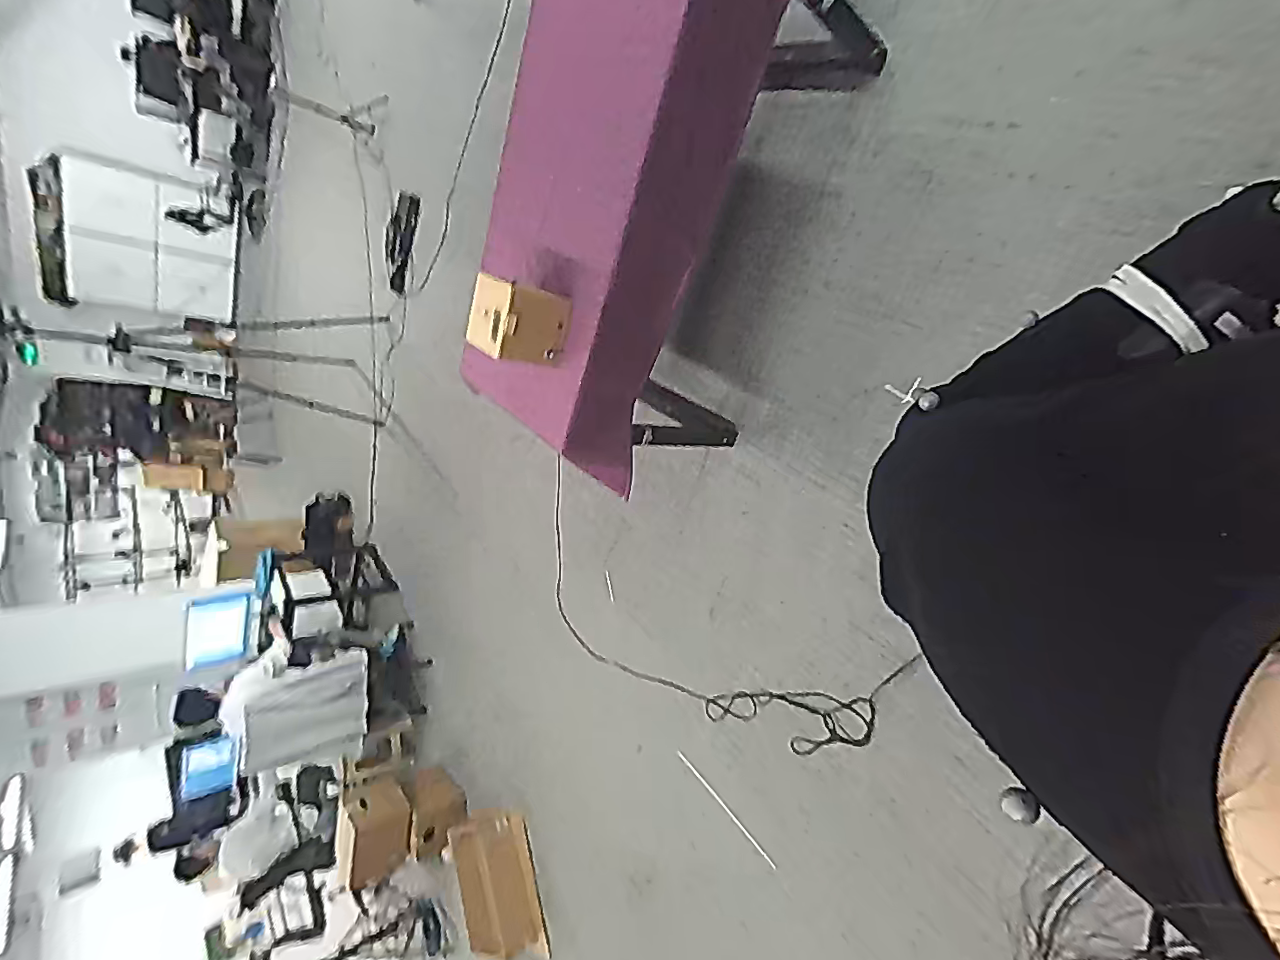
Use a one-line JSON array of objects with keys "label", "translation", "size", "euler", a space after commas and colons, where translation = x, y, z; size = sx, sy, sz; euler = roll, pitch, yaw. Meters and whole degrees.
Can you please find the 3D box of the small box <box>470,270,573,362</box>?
[{"label": "small box", "translation": [-0.288, -0.395, 1.322], "size": [0.179, 0.176, 0.168], "euler": [36, 116, 40]}]
